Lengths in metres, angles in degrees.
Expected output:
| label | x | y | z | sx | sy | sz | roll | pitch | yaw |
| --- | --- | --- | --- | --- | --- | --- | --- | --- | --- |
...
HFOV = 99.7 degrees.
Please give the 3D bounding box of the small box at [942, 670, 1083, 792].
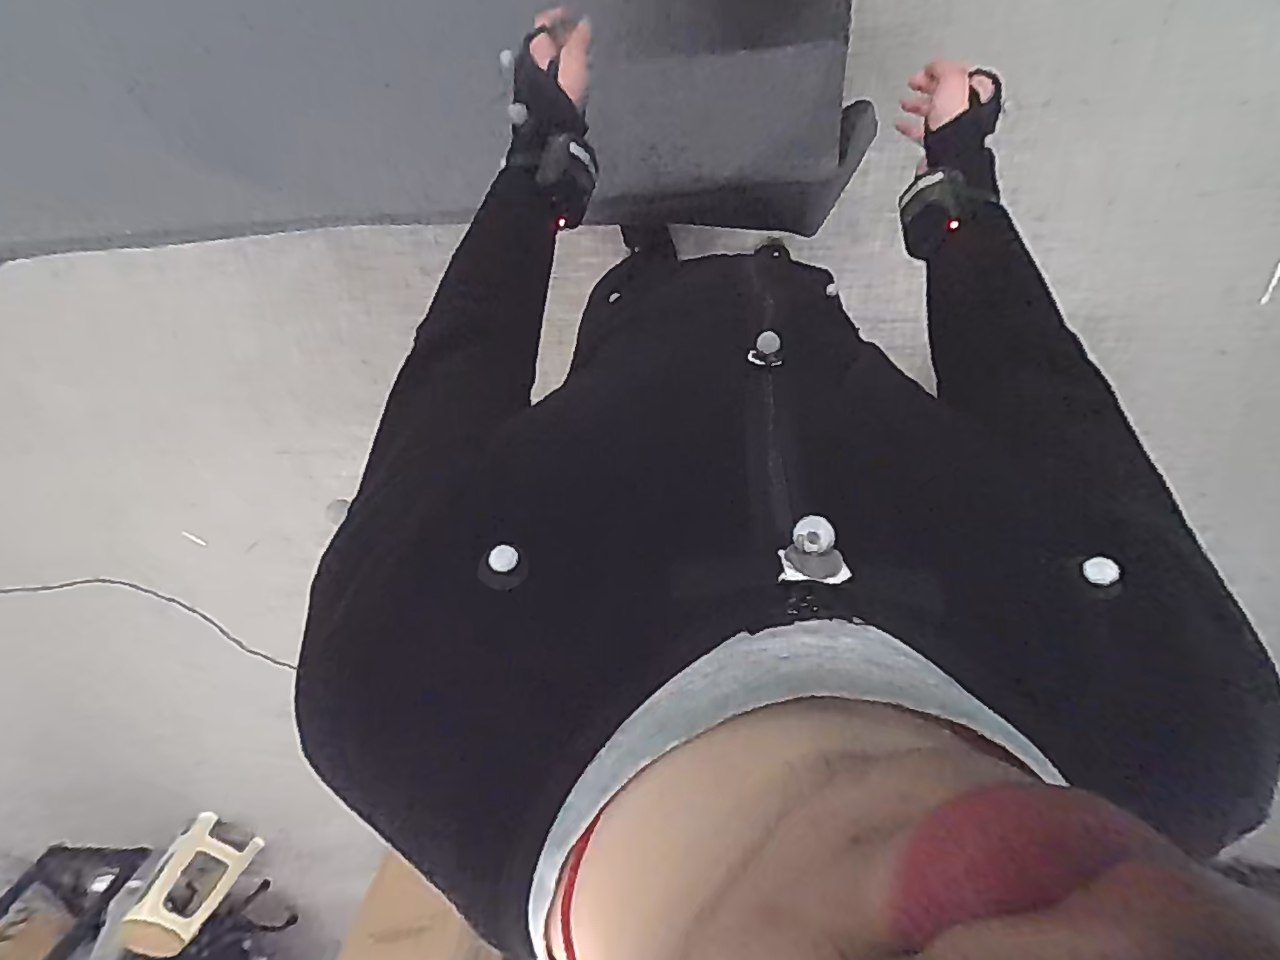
| label | x | y | z | sx | sy | sz | roll | pitch | yaw |
| --- | --- | --- | --- | --- | --- | --- | --- | --- | --- |
| small box | 0.779 | 0.534 | 1.156 | 0.168 | 0.176 | 0.179 | 0 | 117 | 1 |
